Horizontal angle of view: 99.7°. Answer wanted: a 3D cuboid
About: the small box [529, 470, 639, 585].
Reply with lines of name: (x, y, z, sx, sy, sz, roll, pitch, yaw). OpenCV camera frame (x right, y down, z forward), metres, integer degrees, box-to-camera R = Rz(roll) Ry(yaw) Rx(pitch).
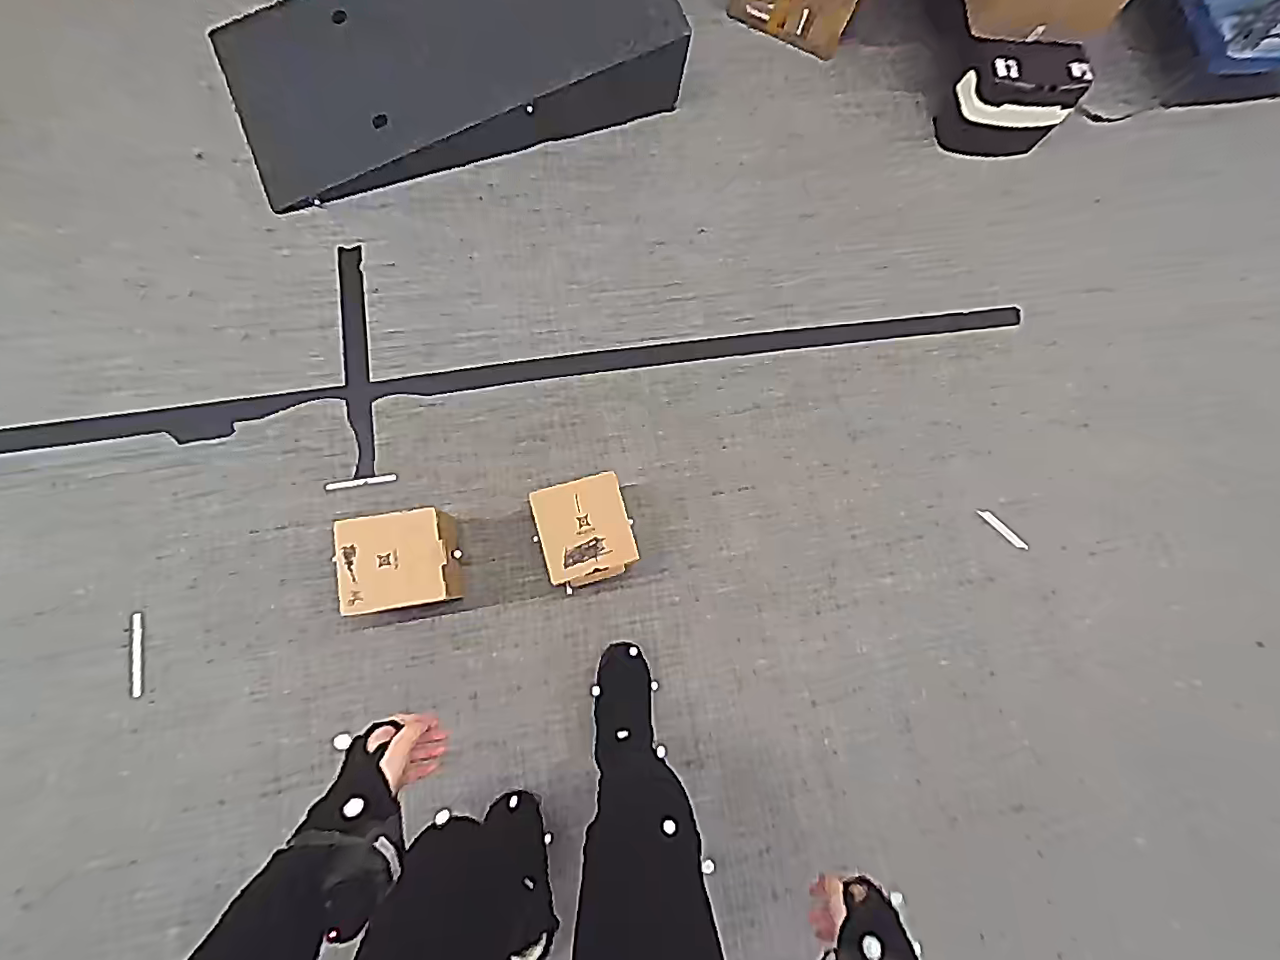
small box: (-0.108, 0.096, 1.048, 0.168, 0.176, 0.179, -15, 81, -10)

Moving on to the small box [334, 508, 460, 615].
small box: (-0.436, 0.149, 0.997, 0.179, 0.176, 0.168, -7, 81, -9)
